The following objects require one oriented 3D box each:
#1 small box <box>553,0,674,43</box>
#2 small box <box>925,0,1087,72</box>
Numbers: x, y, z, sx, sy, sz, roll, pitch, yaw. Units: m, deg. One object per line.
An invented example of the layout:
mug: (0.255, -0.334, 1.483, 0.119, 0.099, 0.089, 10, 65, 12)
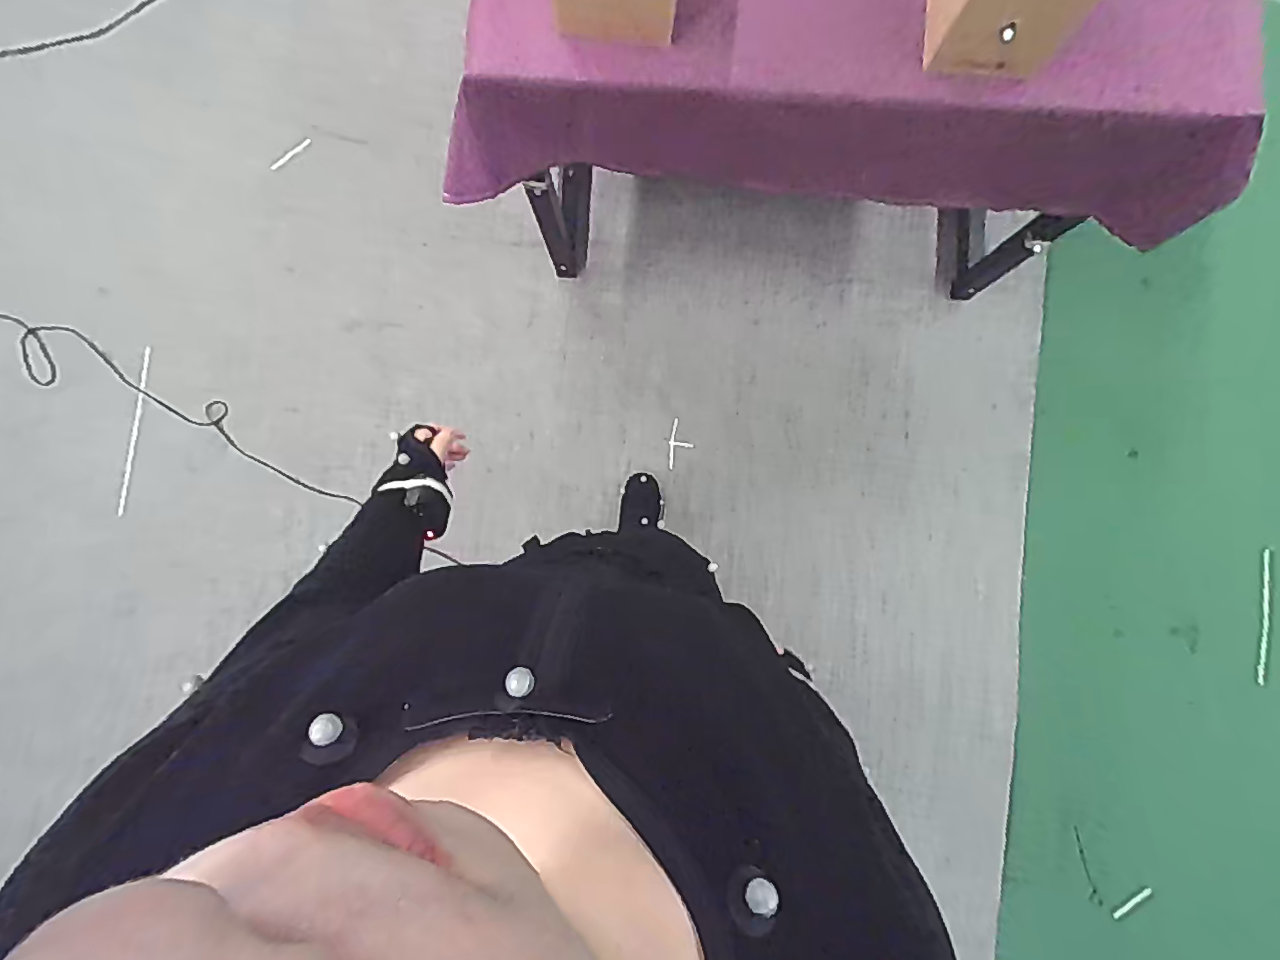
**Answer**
small box: (-0.031, -0.757, 0.747, 0.179, 0.176, 0.168, 8, 86, -1)
small box: (0.514, -0.706, 0.739, 0.168, 0.176, 0.179, 5, 86, 0)
